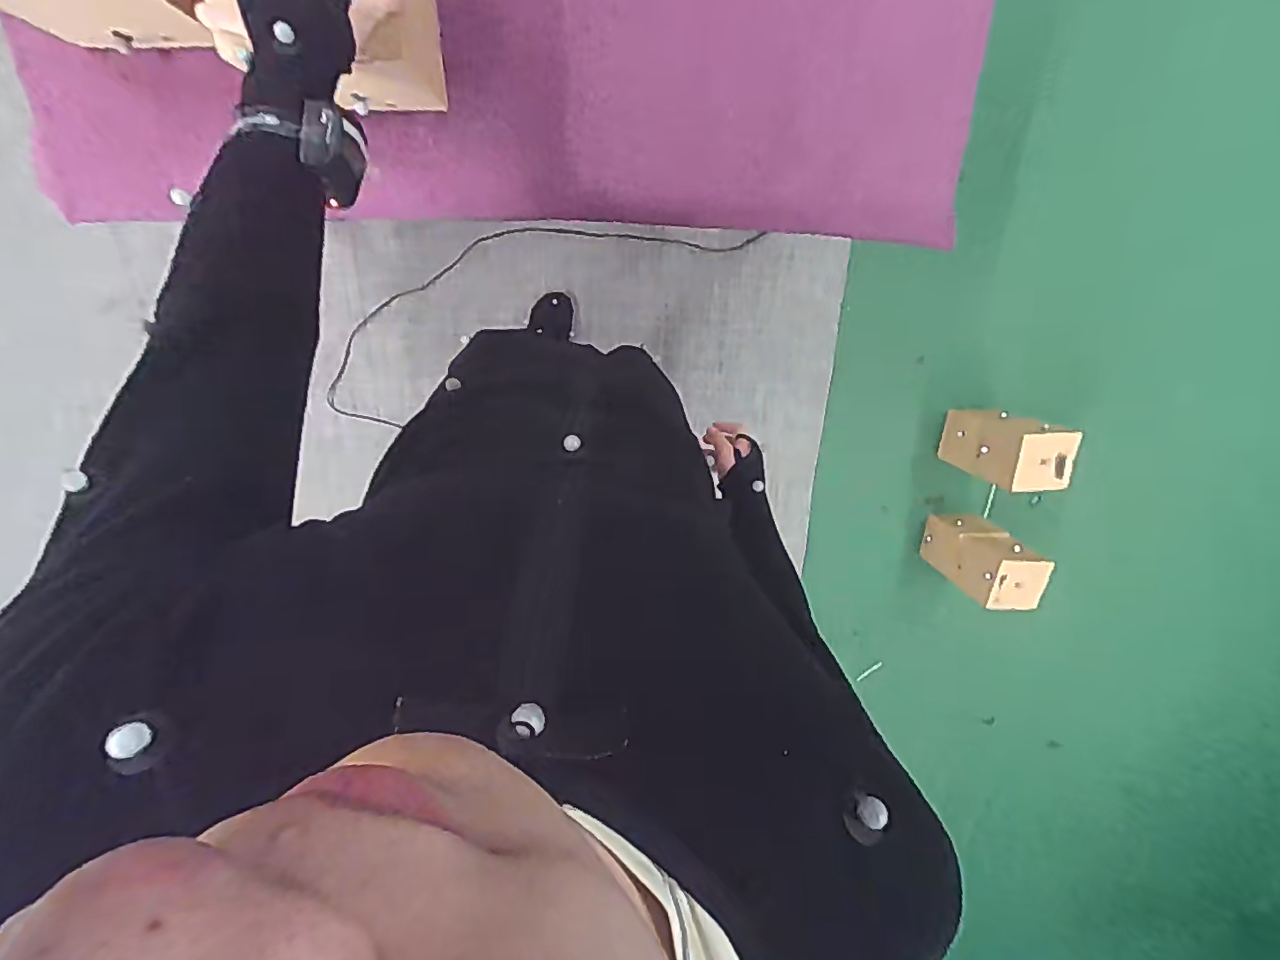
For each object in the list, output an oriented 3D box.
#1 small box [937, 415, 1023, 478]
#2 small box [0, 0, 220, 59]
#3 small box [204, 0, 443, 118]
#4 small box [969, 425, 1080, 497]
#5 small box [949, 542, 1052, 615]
[{"bbox_3d":[1.074,-0.107,1.700,0.179,0.176,0.168,0,110,-8],"label":"small box"},{"bbox_3d":[-0.565,-0.558,0.540,0.168,0.176,0.179,-5,111,-5],"label":"small box"},{"bbox_3d":[-0.308,-0.490,0.541,0.168,0.176,0.179,-2,112,-5],"label":"small box"},{"bbox_3d":[1.088,-0.059,1.543,0.179,0.176,0.168,-2,110,-5],"label":"small box"},{"bbox_3d":[1.111,0.301,1.677,0.179,0.176,0.168,3,110,-9],"label":"small box"}]
